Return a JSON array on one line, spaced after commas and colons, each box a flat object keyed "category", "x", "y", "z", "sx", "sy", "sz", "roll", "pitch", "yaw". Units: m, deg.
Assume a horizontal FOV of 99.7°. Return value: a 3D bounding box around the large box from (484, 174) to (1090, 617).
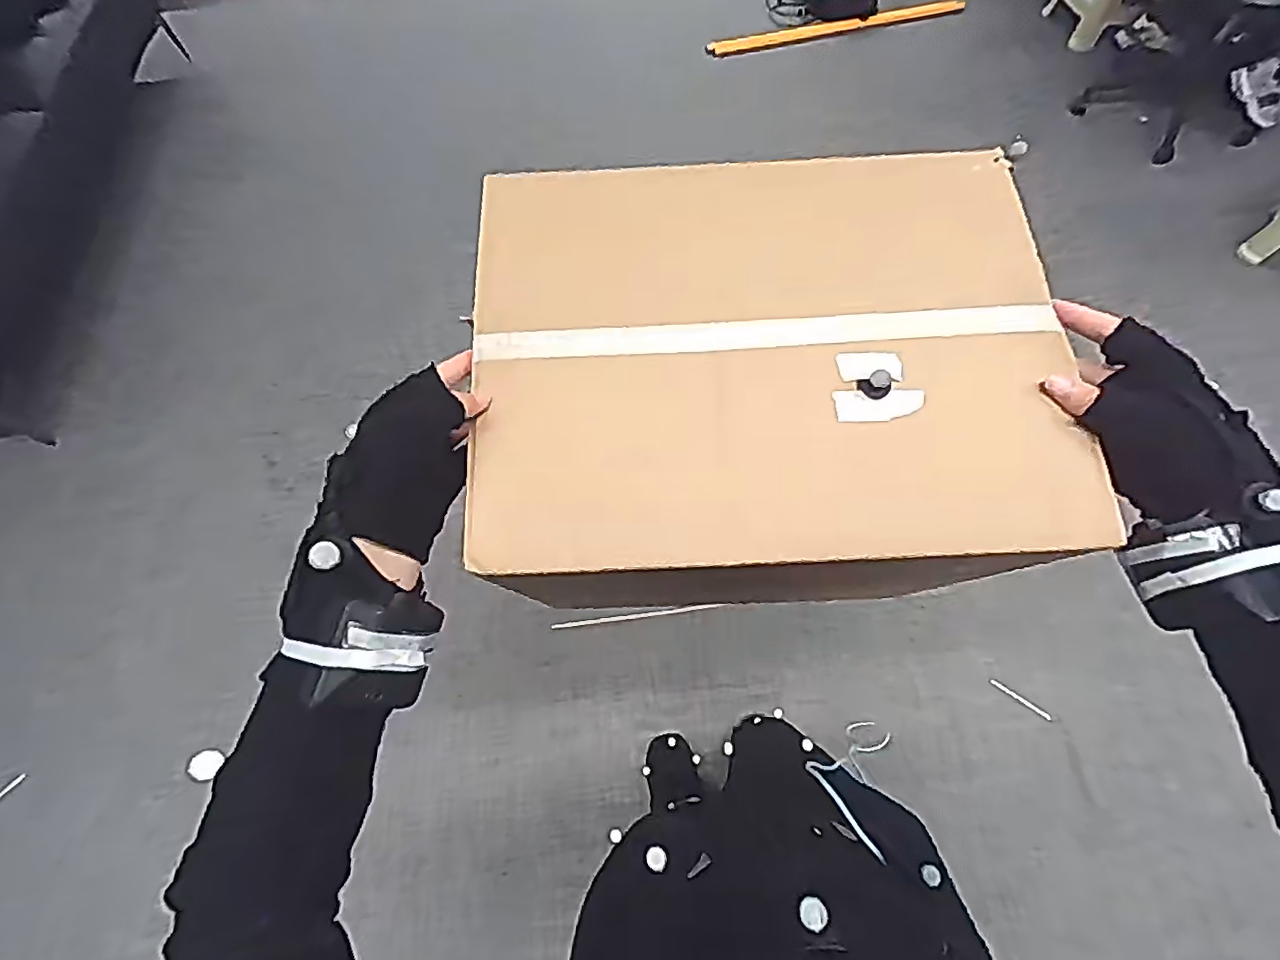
[{"category": "large box", "x": 0.088, "y": -0.046, "z": 0.537, "sx": 0.408, "sy": 0.320, "sz": 0.320, "roll": -4, "pitch": 72, "yaw": 1}]
